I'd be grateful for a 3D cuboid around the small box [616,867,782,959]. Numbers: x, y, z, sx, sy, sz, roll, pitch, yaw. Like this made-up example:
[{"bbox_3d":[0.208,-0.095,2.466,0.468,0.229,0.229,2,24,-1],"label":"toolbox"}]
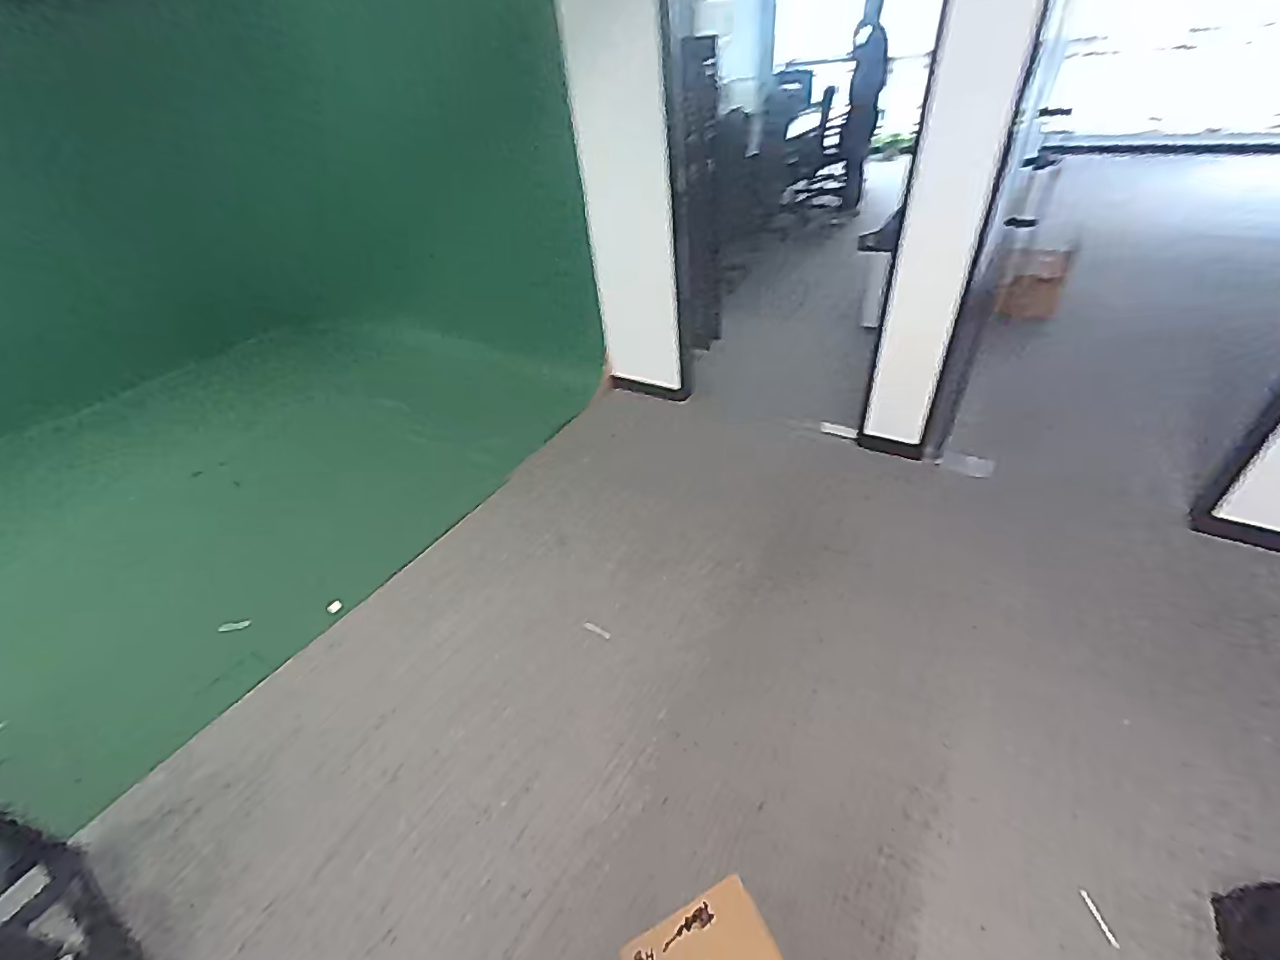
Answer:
[{"bbox_3d":[0.097,0.609,0.614,0.168,0.176,0.179,-29,21,-9],"label":"small box"}]
